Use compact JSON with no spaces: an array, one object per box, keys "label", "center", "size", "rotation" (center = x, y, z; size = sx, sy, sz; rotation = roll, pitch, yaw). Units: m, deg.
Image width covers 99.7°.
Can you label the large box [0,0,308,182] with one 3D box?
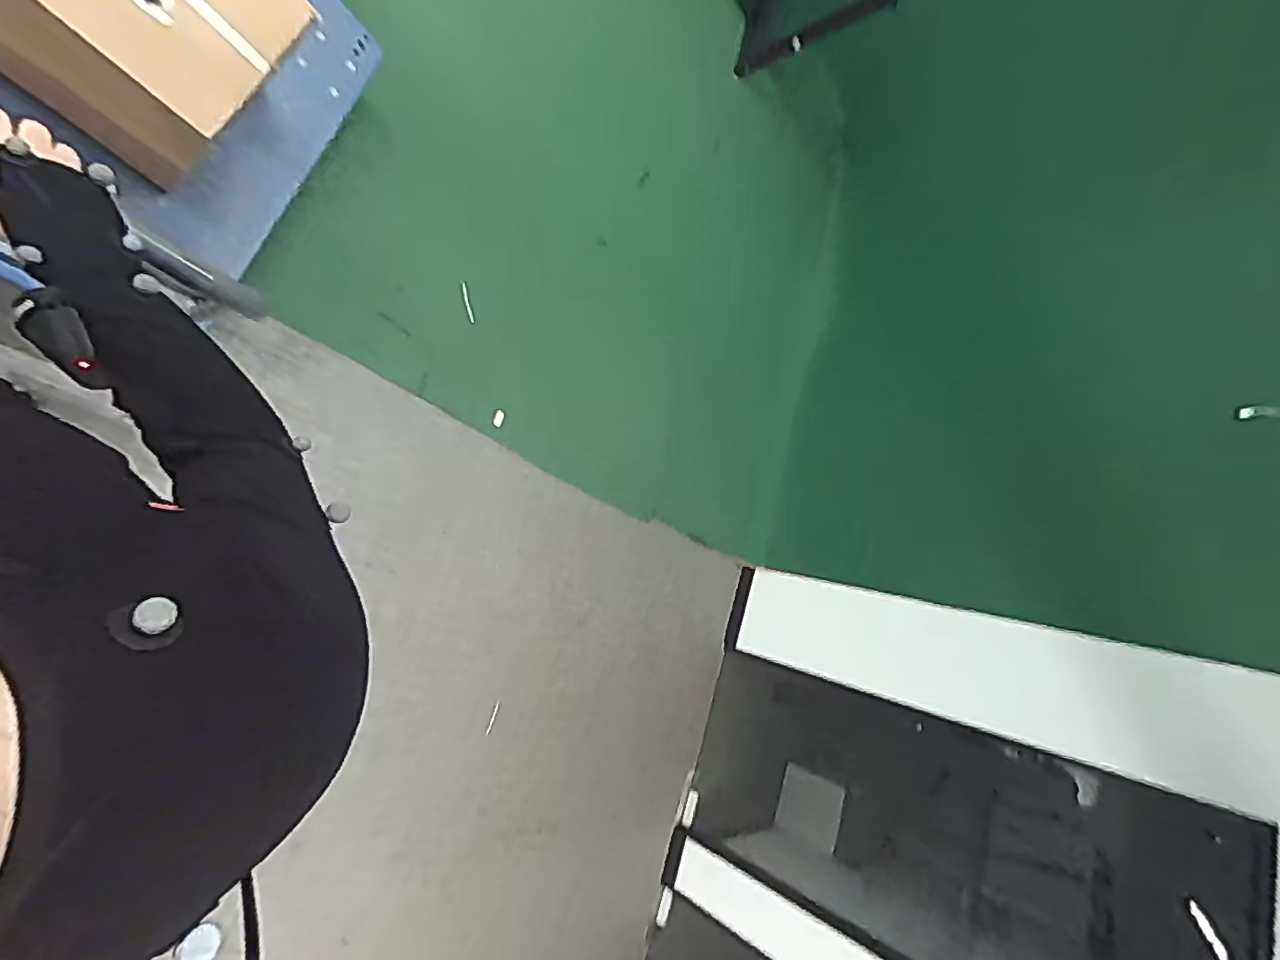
[{"label":"large box","center":[-0.838,-0.765,0.828],"size":[0.408,0.320,0.320],"rotation":[40,65,-45]}]
